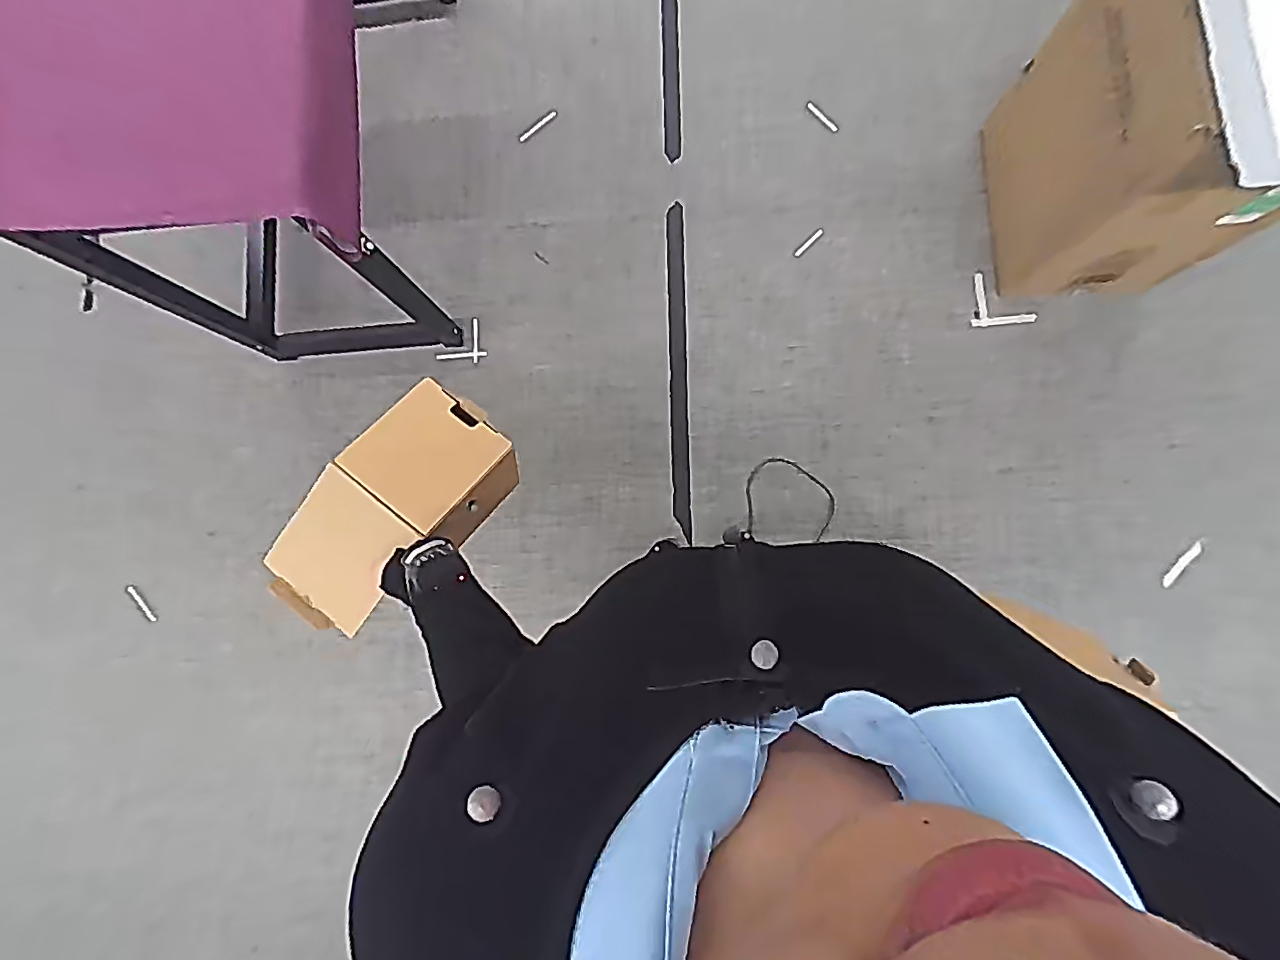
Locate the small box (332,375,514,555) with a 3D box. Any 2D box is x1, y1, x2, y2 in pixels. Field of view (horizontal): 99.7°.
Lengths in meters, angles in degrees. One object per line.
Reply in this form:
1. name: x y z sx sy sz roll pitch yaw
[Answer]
1. small box: -0.302 -0.012 0.800 0.168 0.176 0.179 38 69 4
